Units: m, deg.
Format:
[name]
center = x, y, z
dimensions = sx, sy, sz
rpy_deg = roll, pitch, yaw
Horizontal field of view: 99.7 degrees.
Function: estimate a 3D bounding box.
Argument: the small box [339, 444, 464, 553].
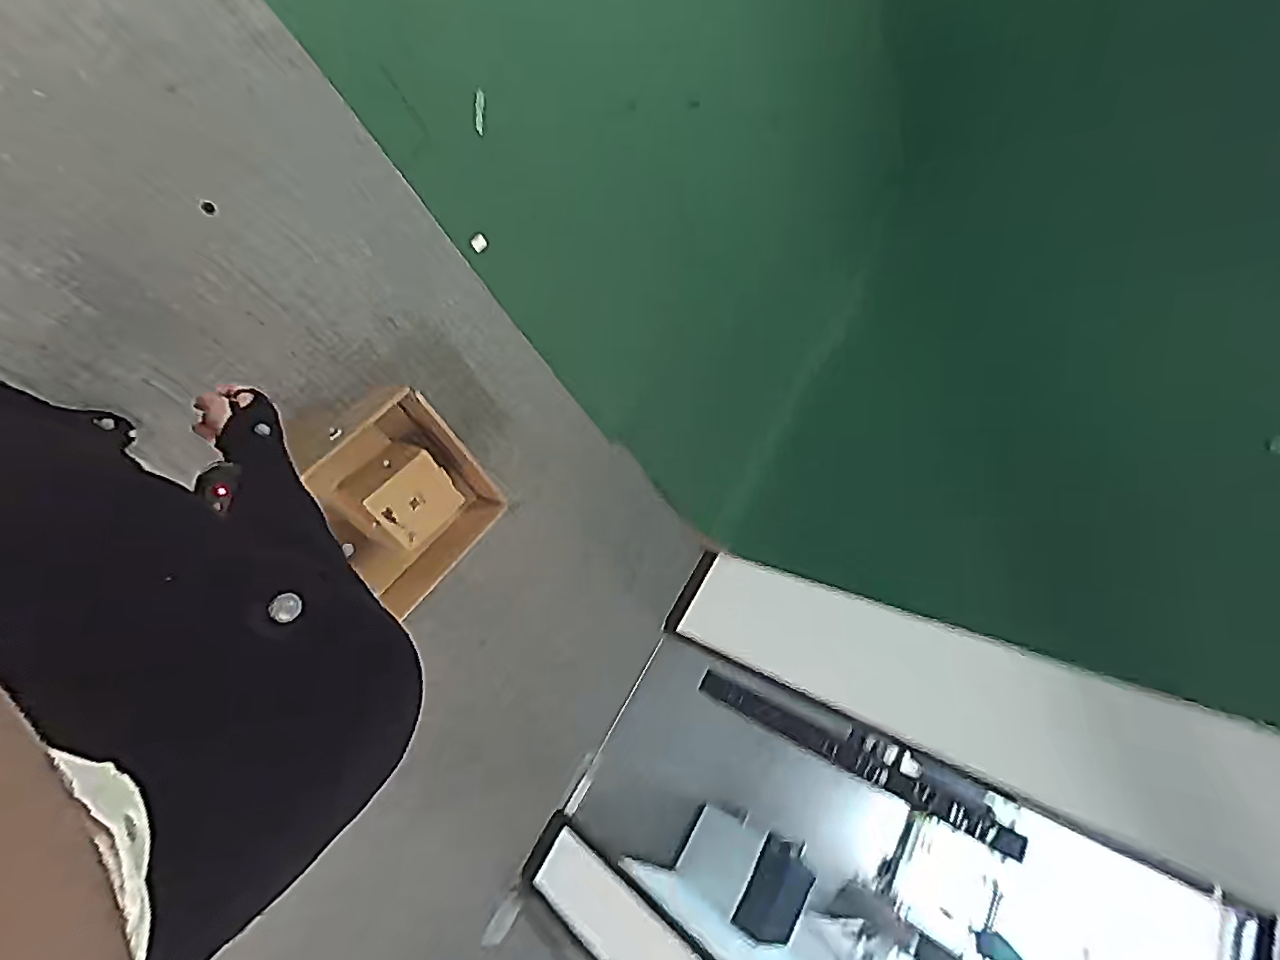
[small box]
center = -0.553, 0.035, 1.252
dimensions = 0.179, 0.176, 0.168
rpy_deg = -48, 130, -27
